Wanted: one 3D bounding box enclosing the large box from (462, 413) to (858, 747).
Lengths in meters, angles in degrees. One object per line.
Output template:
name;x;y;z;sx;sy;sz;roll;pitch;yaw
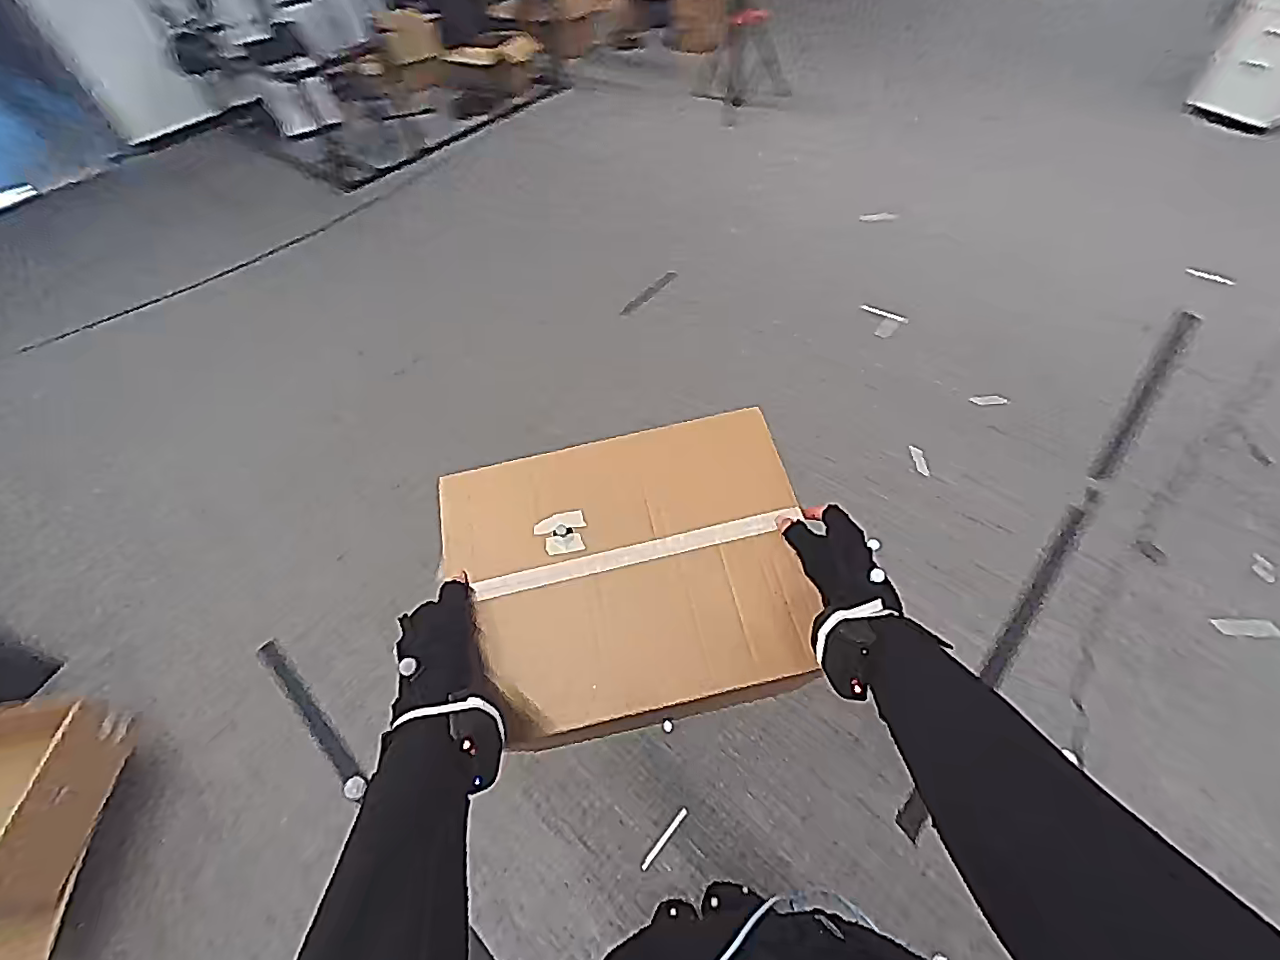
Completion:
large box;0.015;0.155;0.744;0.408;0.320;0.320;-12;63;0
